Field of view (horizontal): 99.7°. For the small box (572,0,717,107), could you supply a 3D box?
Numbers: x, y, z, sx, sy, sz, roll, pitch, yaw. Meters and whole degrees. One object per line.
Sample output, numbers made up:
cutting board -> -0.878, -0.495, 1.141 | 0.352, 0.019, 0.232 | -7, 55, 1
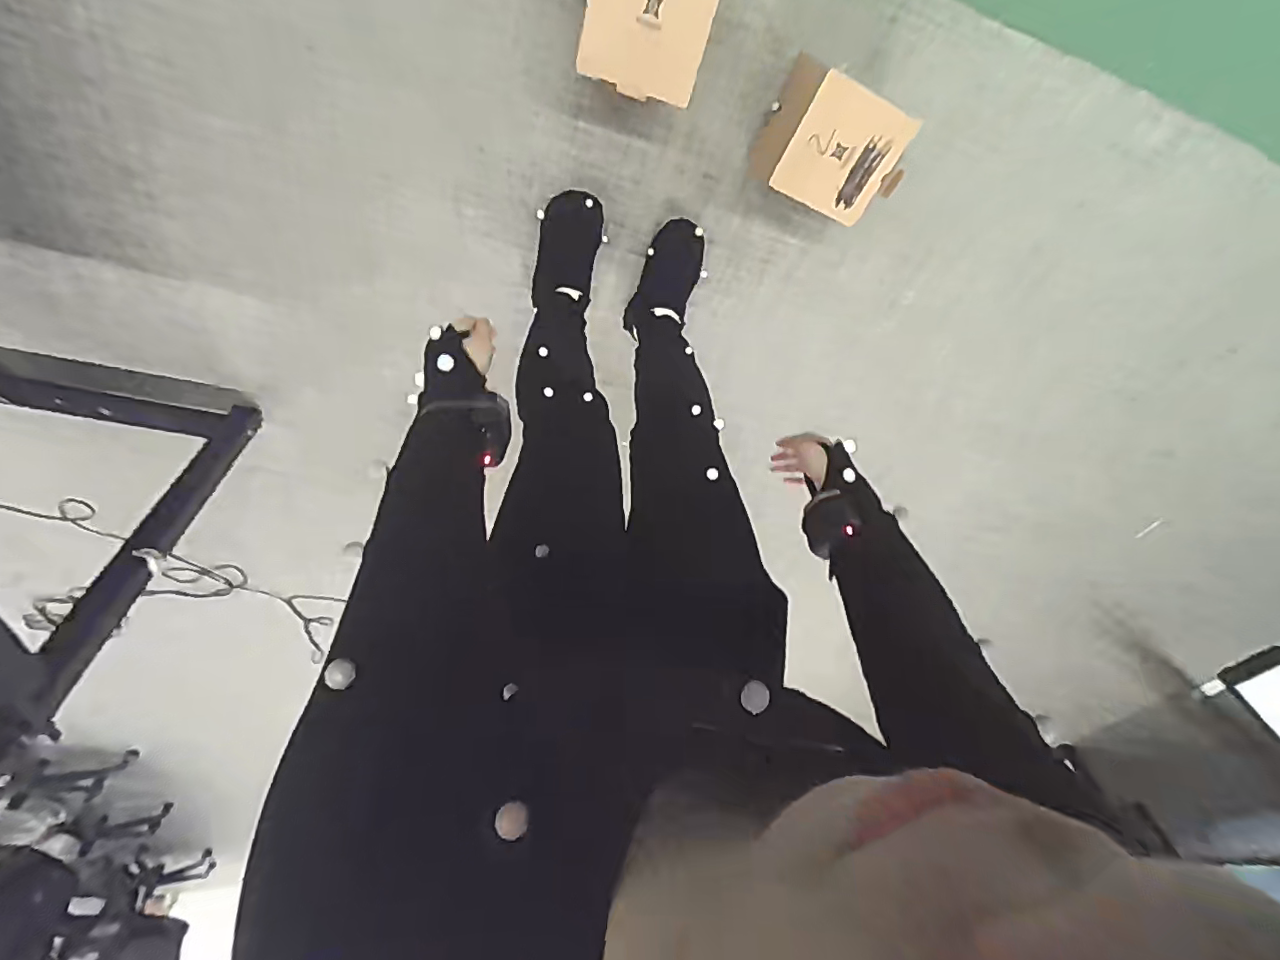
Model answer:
small box -> 0.007, -0.658, 0.747 | 0.168, 0.176, 0.179 | 10, 133, -14
